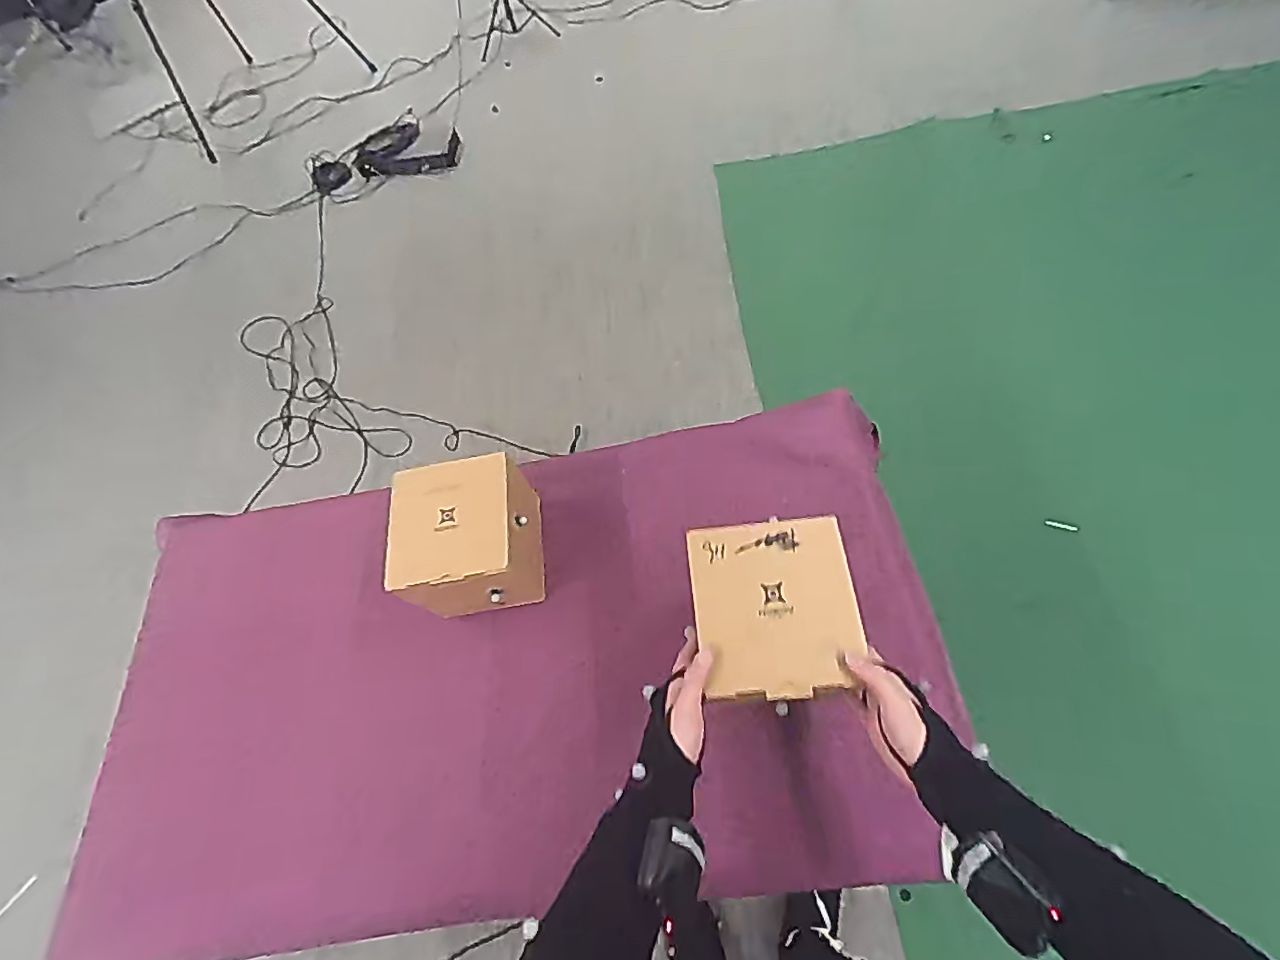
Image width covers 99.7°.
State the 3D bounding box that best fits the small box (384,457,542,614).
[{"bbox_3d":[-0.248,0.091,0.794,0.168,0.176,0.179,-10,63,4],"label":"small box"}]

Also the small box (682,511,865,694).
[{"bbox_3d":[0.144,0.152,0.632,0.168,0.176,0.179,-7,65,6],"label":"small box"}]
